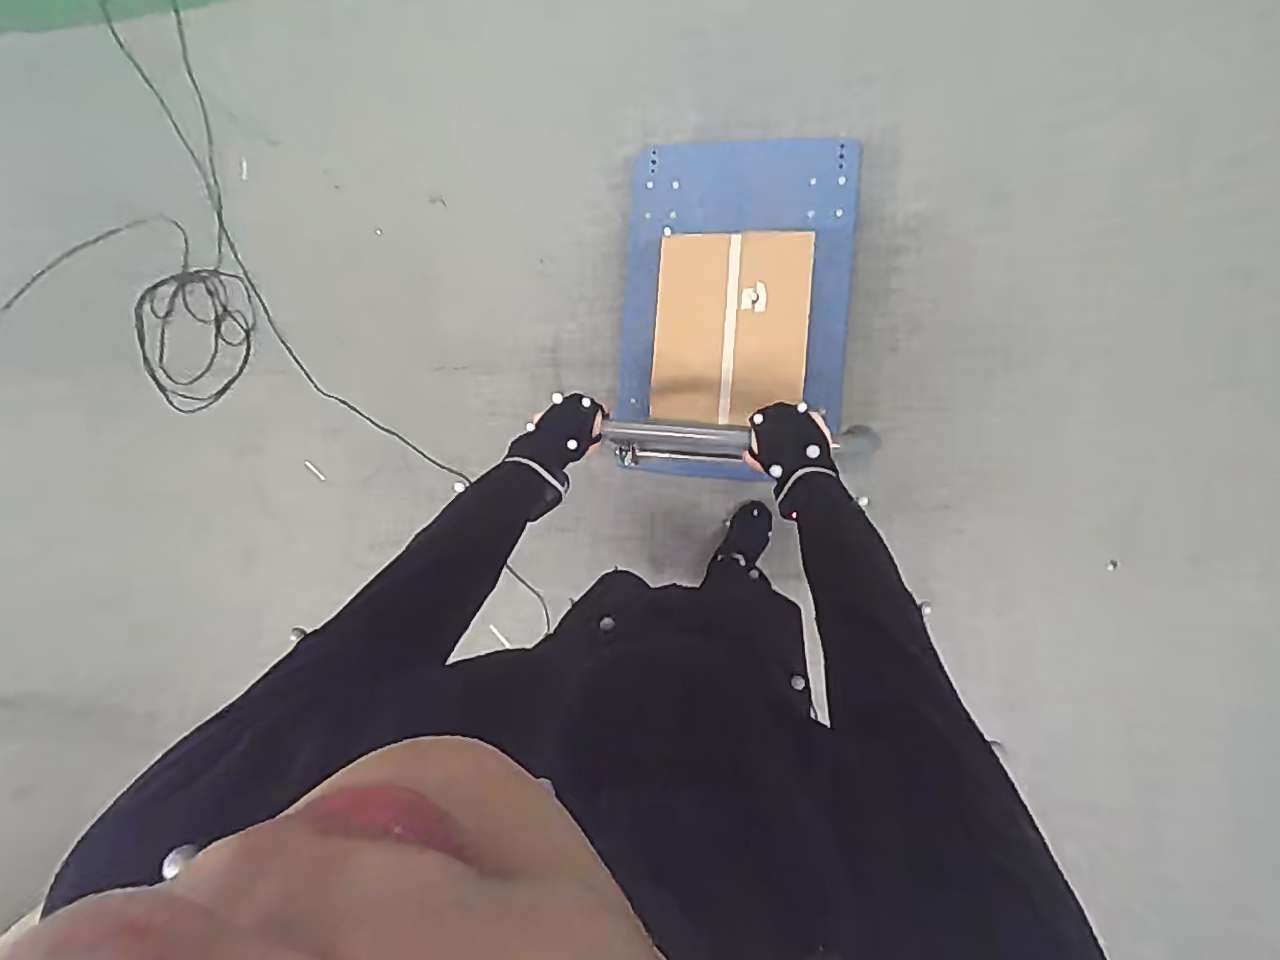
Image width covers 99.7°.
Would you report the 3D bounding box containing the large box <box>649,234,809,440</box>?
[{"bbox_3d":[0.212,-0.309,1.273,0.320,0.320,0.408,5,90,11],"label":"large box"}]
